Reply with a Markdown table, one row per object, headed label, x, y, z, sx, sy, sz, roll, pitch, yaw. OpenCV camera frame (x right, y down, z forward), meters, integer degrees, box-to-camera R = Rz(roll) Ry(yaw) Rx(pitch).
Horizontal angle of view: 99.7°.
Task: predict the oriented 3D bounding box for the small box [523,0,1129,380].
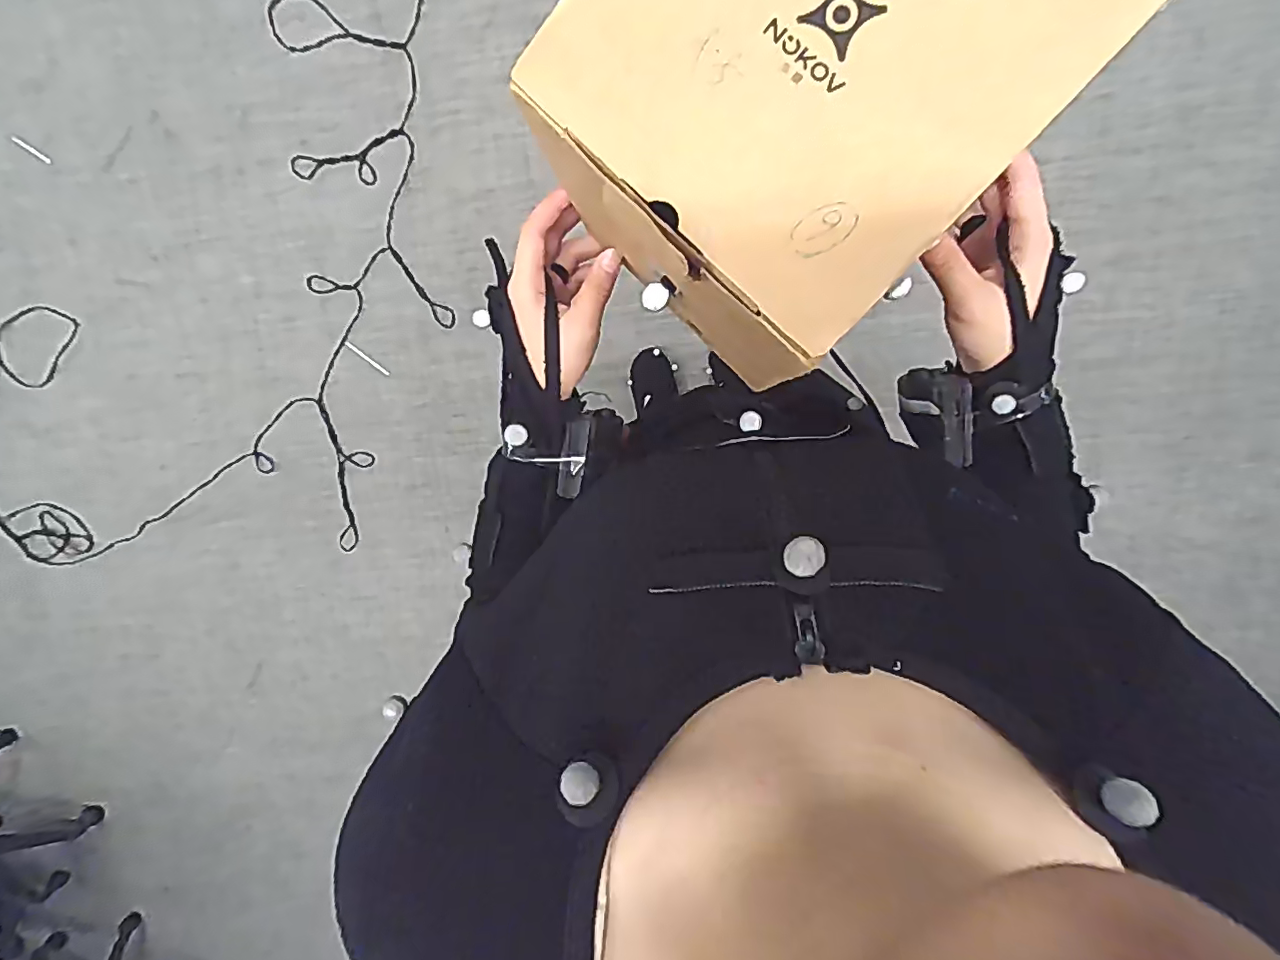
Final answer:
| label | x | y | z | sx | sy | sz | roll | pitch | yaw |
| --- | --- | --- | --- | --- | --- | --- | --- | --- | --- |
| small box | 0.074 | -0.171 | 0.291 | 0.168 | 0.176 | 0.179 | 43 | 99 | 0 |
